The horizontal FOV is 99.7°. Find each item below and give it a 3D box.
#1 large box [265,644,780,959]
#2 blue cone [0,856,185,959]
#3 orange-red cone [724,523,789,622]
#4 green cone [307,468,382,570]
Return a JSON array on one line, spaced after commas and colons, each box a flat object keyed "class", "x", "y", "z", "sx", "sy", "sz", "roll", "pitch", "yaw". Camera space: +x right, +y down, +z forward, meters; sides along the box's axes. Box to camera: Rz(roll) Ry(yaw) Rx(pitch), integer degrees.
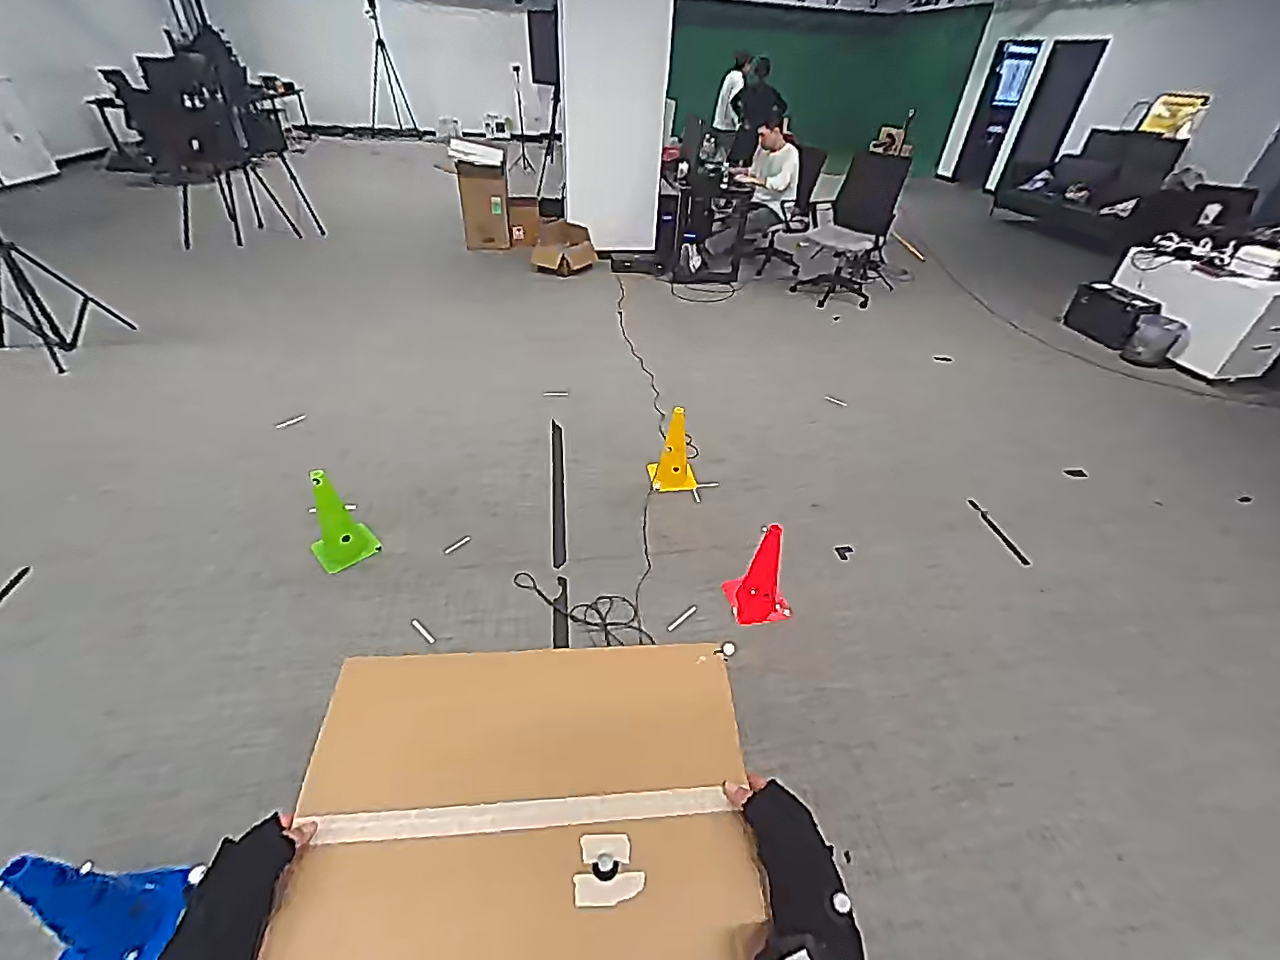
[{"class": "large box", "x": -0.108, "y": 0.403, "z": 0.597, "sx": 0.408, "sy": 0.320, "sz": 0.320, "roll": 0, "pitch": 47, "yaw": -6}, {"class": "blue cone", "x": -1.098, "y": 0.817, "z": 1.052, "sx": 0.192, "sy": 0.380, "sz": 0.193, "roll": -1, "pitch": 38, "yaw": -5}, {"class": "orange-red cone", "x": 0.423, "y": 0.289, "z": 1.833, "sx": 0.198, "sy": 0.360, "sz": 0.199, "roll": -3, "pitch": 37, "yaw": -11}, {"class": "green cone", "x": -1.101, "y": 0.107, "z": 1.933, "sx": 0.200, "sy": 0.368, "sz": 0.202, "roll": 32, "pitch": 48, "yaw": 32}]
